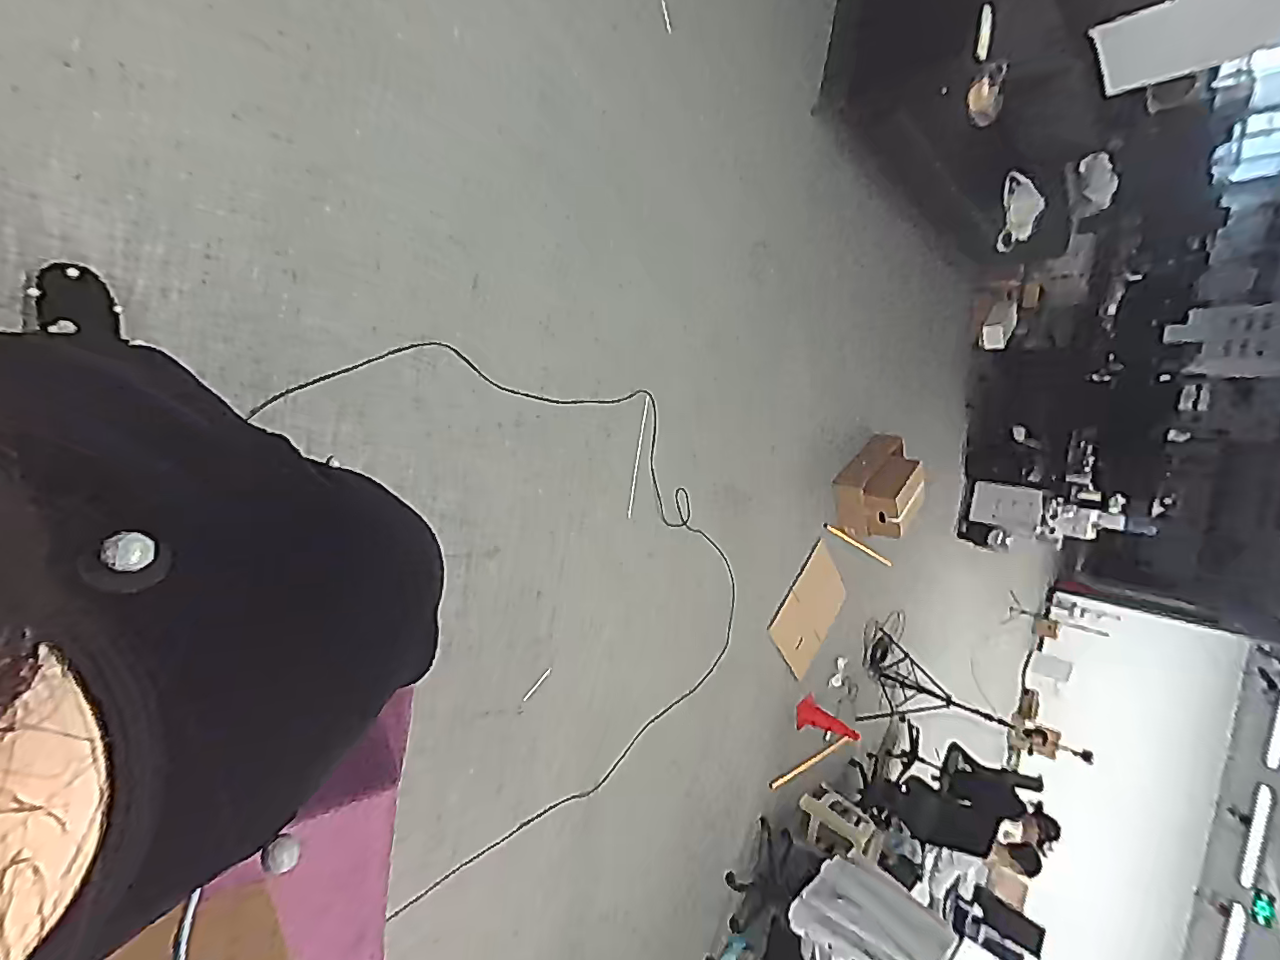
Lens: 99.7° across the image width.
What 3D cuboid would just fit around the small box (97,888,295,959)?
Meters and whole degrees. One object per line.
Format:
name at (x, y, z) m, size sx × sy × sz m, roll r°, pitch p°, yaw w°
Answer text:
small box at (-0.512, 0.627, 0.622) m, size 0.179 × 0.176 × 0.168 m, roll 7°, pitch 93°, yaw -44°
